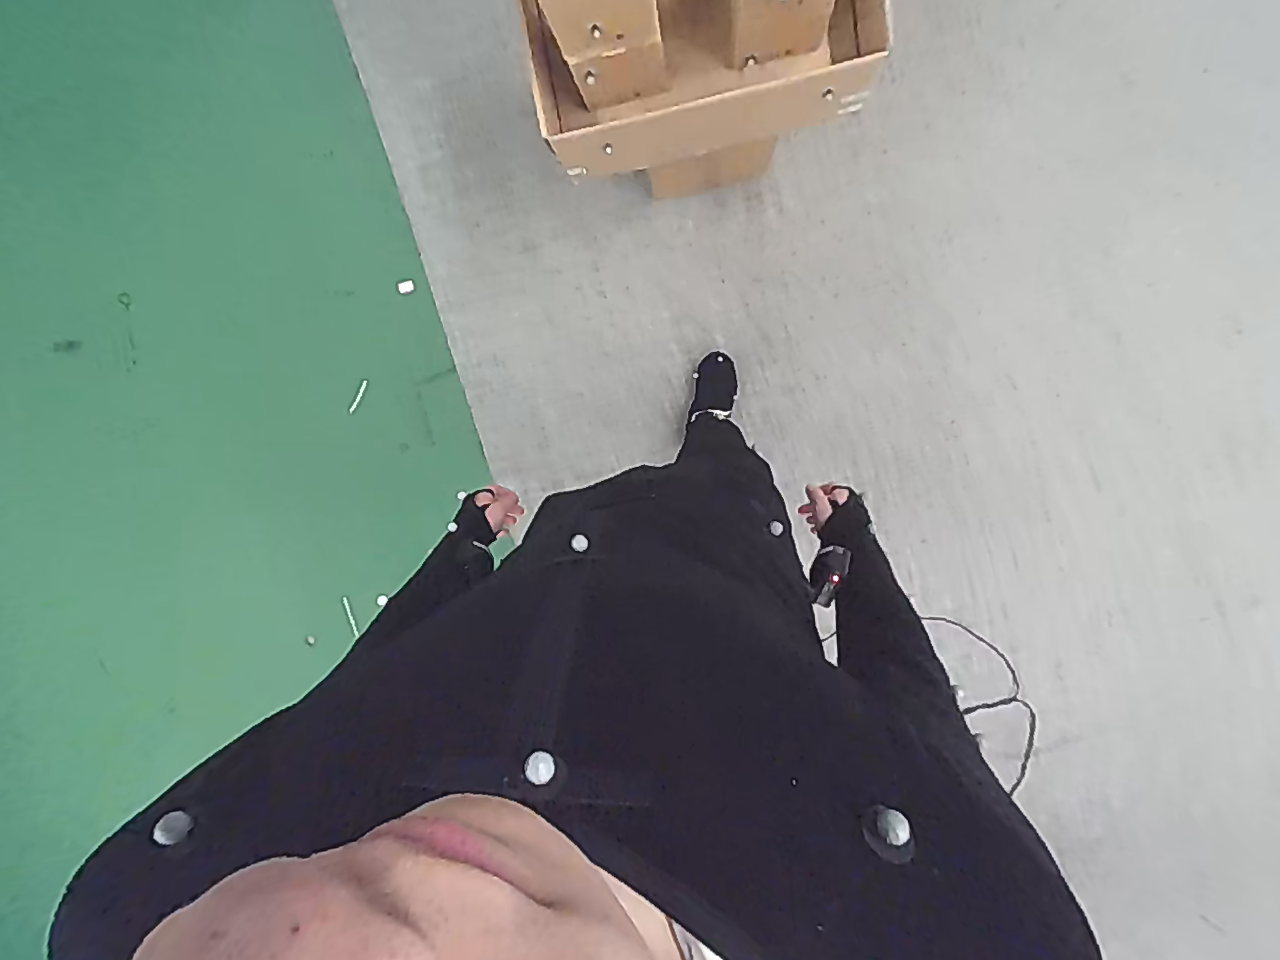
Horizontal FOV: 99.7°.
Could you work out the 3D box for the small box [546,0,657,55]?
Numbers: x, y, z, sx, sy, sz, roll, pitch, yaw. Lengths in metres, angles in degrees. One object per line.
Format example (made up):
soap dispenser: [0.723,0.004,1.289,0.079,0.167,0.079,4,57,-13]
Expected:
small box: [-0.069,-0.804,0.821,0.168,0.176,0.179,-7,99,8]

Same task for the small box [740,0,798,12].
small box: [0.219,-0.839,0.777,0.168,0.176,0.179,-7,100,9]
